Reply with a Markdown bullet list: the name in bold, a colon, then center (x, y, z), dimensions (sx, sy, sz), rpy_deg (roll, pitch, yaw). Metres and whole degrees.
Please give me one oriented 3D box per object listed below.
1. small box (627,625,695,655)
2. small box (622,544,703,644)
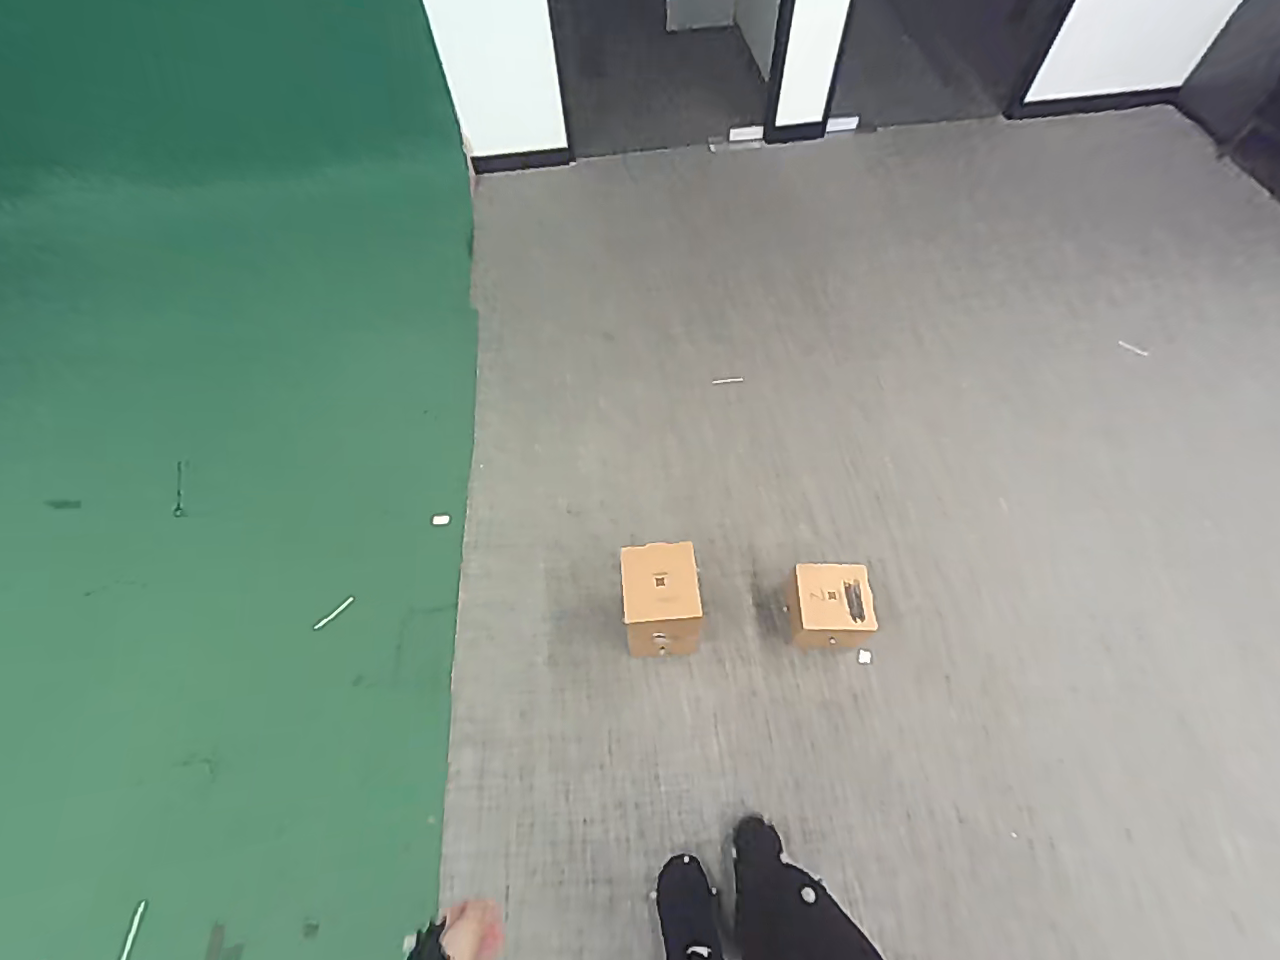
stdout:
- **small box**: center (0.053, 0.346, 1.385), dimensions (0.168, 0.176, 0.179), rpy_deg (-2, 61, 1)
- **small box**: center (0.050, 0.265, 1.243), dimensions (0.168, 0.176, 0.179), rpy_deg (-6, 61, 0)
